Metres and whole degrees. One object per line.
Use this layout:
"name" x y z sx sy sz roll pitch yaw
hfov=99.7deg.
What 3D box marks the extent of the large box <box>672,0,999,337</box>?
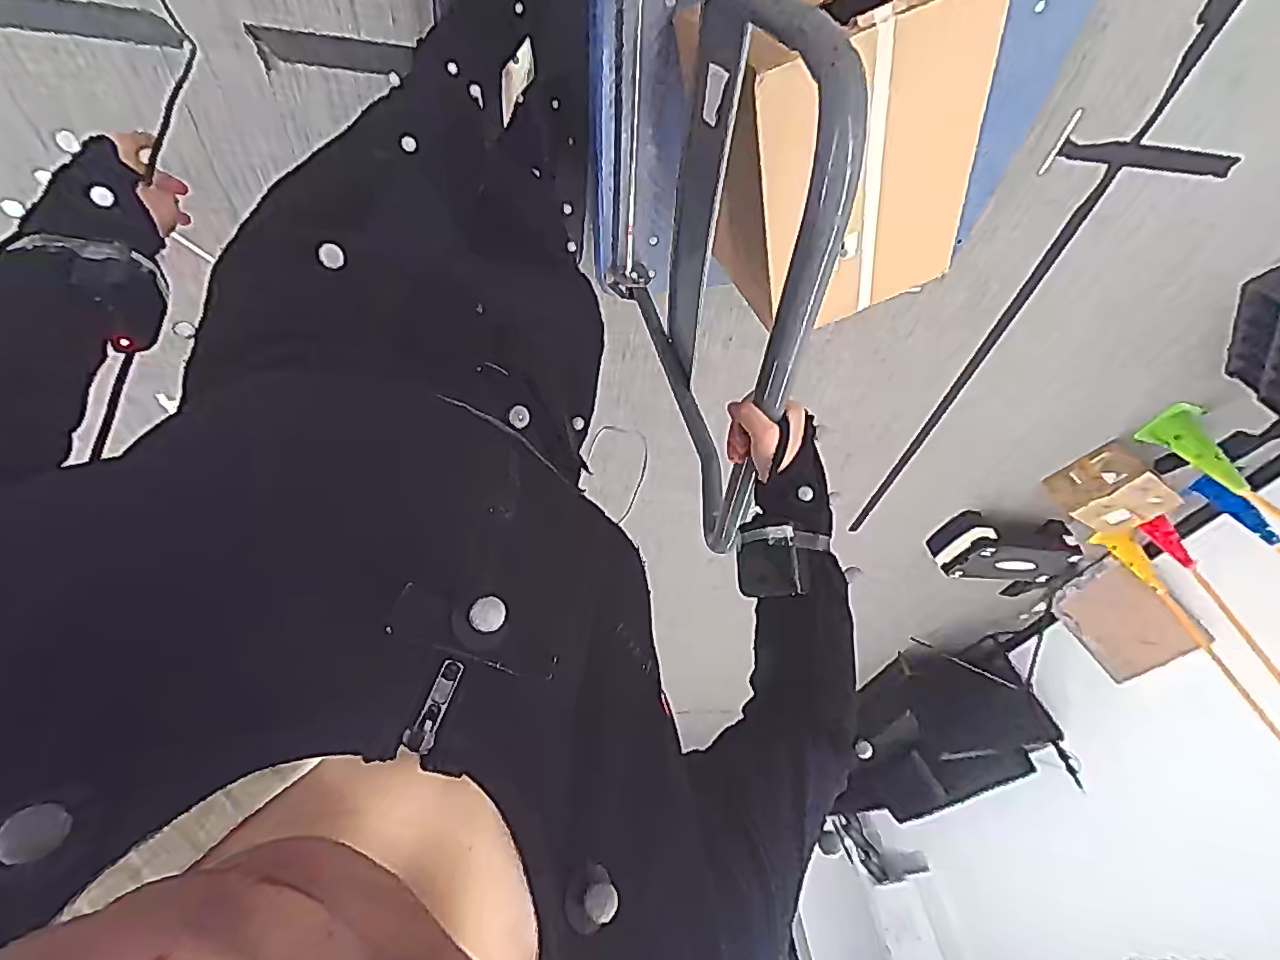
"large box" 0.276 -0.520 0.852 0.320 0.320 0.408 -22 143 3
